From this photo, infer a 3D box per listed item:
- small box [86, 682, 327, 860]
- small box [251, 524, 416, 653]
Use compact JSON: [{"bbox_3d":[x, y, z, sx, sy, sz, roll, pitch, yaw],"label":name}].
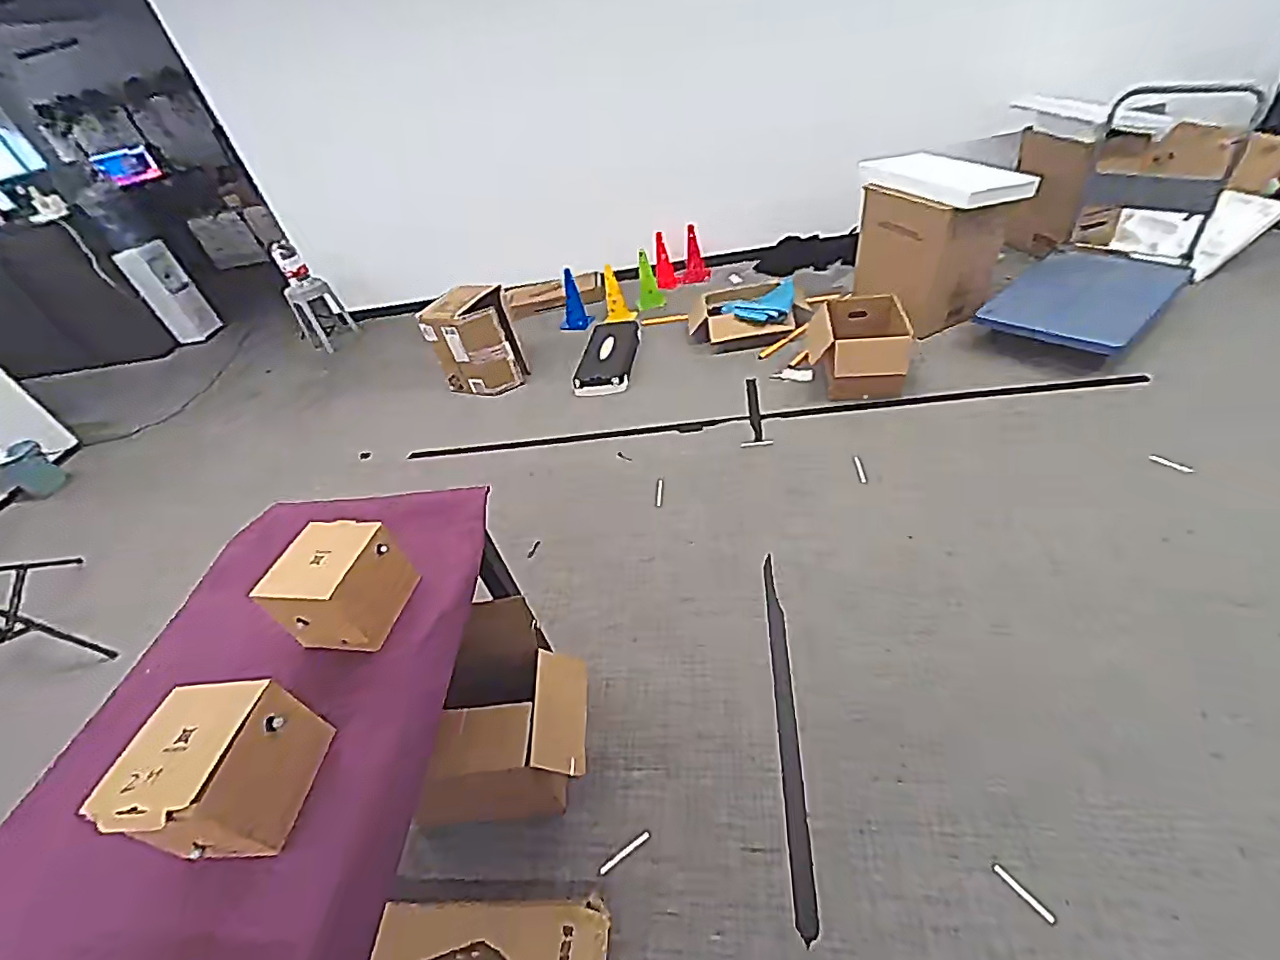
[{"bbox_3d":[-0.589,0.414,0.770,0.168,0.176,0.179,-8,40,10],"label":"small box"},{"bbox_3d":[-0.551,0.202,1.005,0.168,0.176,0.179,-1,41,14],"label":"small box"}]
